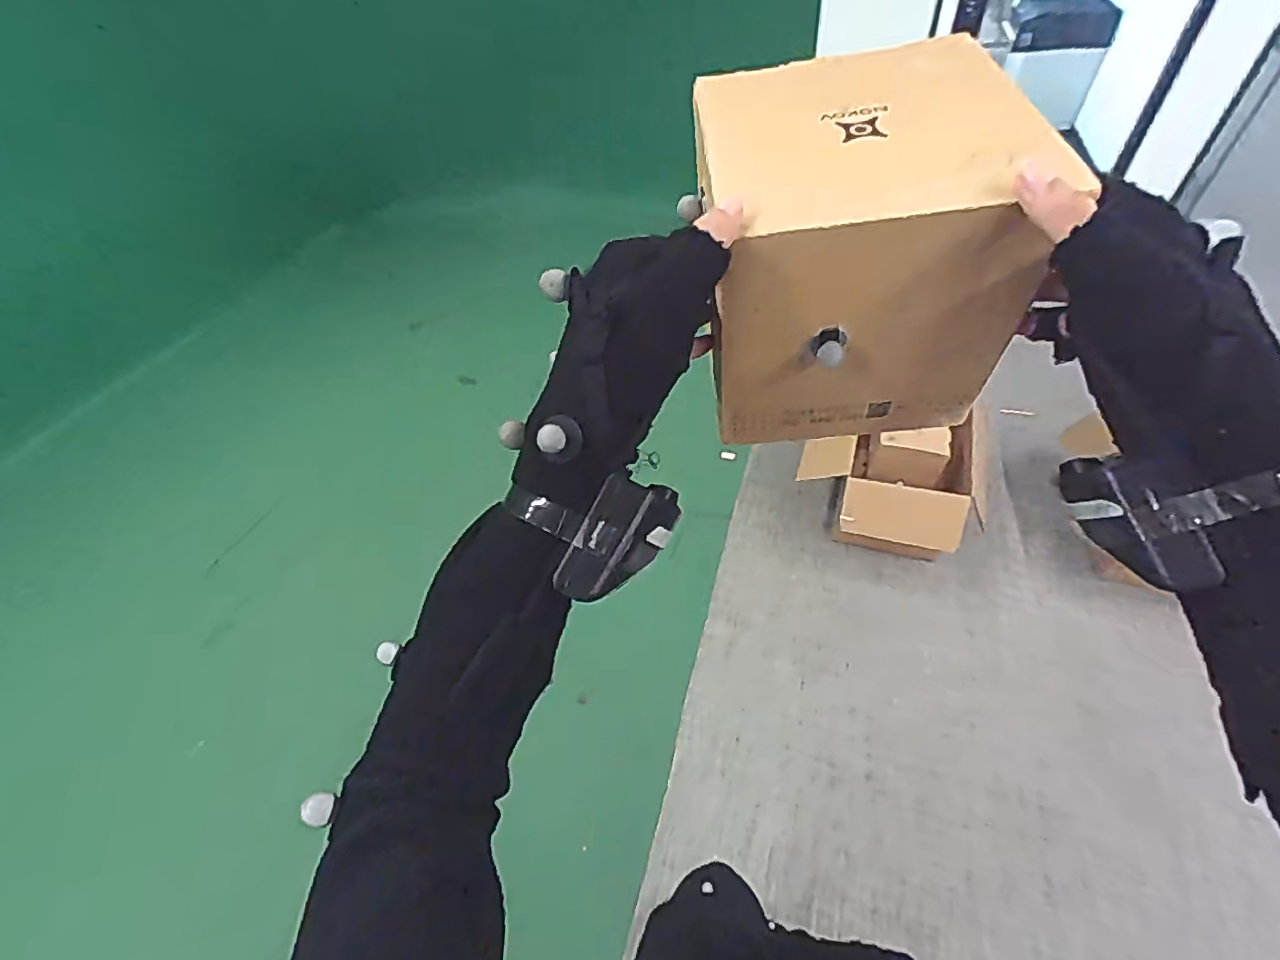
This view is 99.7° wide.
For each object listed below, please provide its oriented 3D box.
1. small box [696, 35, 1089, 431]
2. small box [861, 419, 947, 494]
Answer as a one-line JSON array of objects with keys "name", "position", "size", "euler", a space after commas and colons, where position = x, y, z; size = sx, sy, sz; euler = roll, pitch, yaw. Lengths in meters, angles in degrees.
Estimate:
[{"name": "small box", "position": [0.129, -0.146, 0.356], "size": [0.168, 0.176, 0.179], "euler": [-5, 56, 6]}, {"name": "small box", "position": [0.749, -0.083, 1.540], "size": [0.179, 0.176, 0.168], "euler": [13, 50, 14]}]
